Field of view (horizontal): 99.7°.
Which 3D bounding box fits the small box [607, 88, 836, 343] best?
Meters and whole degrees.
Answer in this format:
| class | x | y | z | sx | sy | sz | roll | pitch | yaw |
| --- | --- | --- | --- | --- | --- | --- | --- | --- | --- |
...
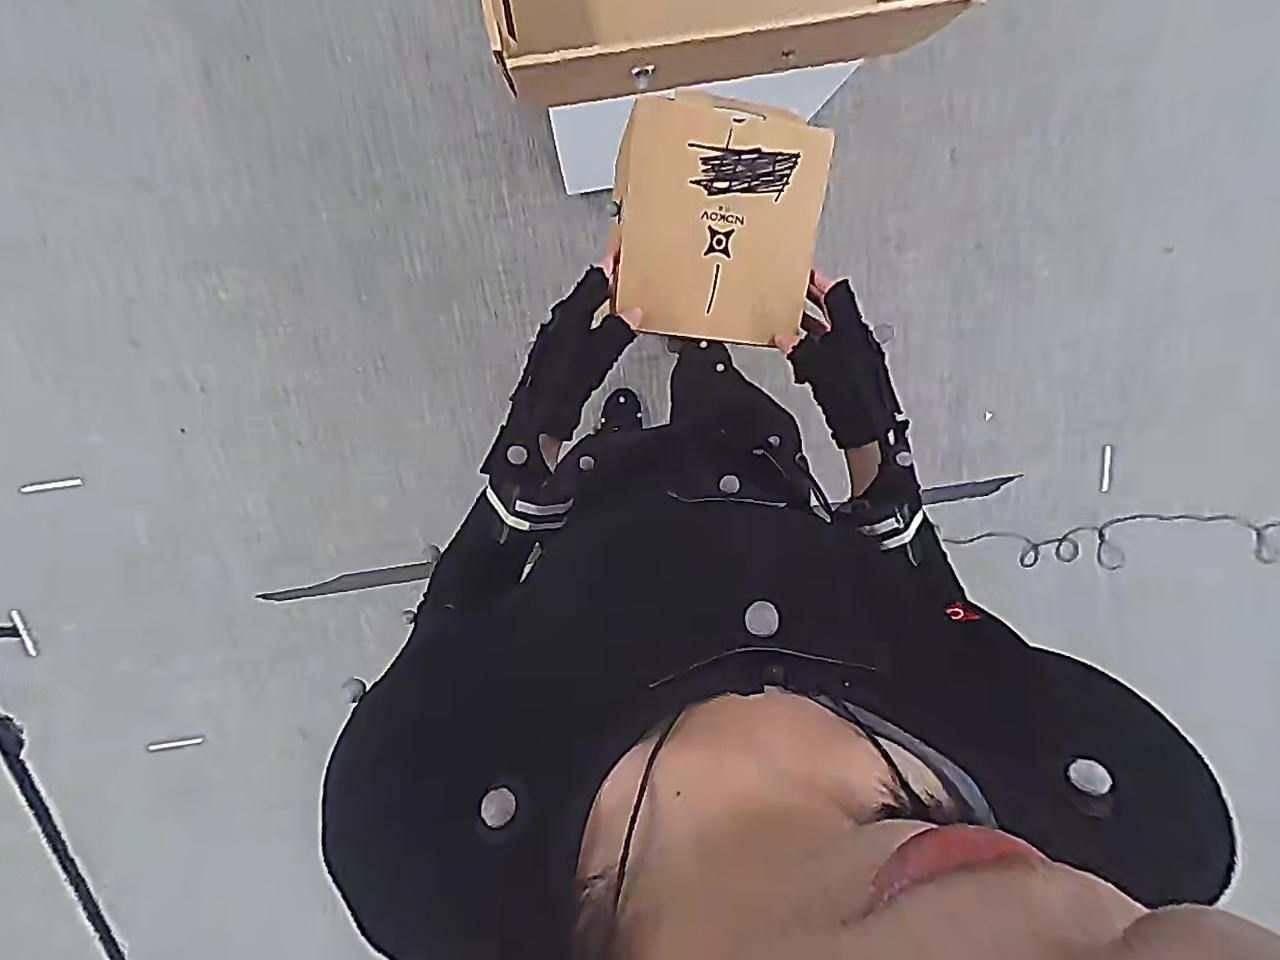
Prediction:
| class | x | y | z | sx | sy | sz | roll | pitch | yaw |
| --- | --- | --- | --- | --- | --- | --- | --- | --- | --- |
| small box | 0.060 | -0.231 | 0.520 | 0.168 | 0.176 | 0.179 | 4 | 105 | -8 |
